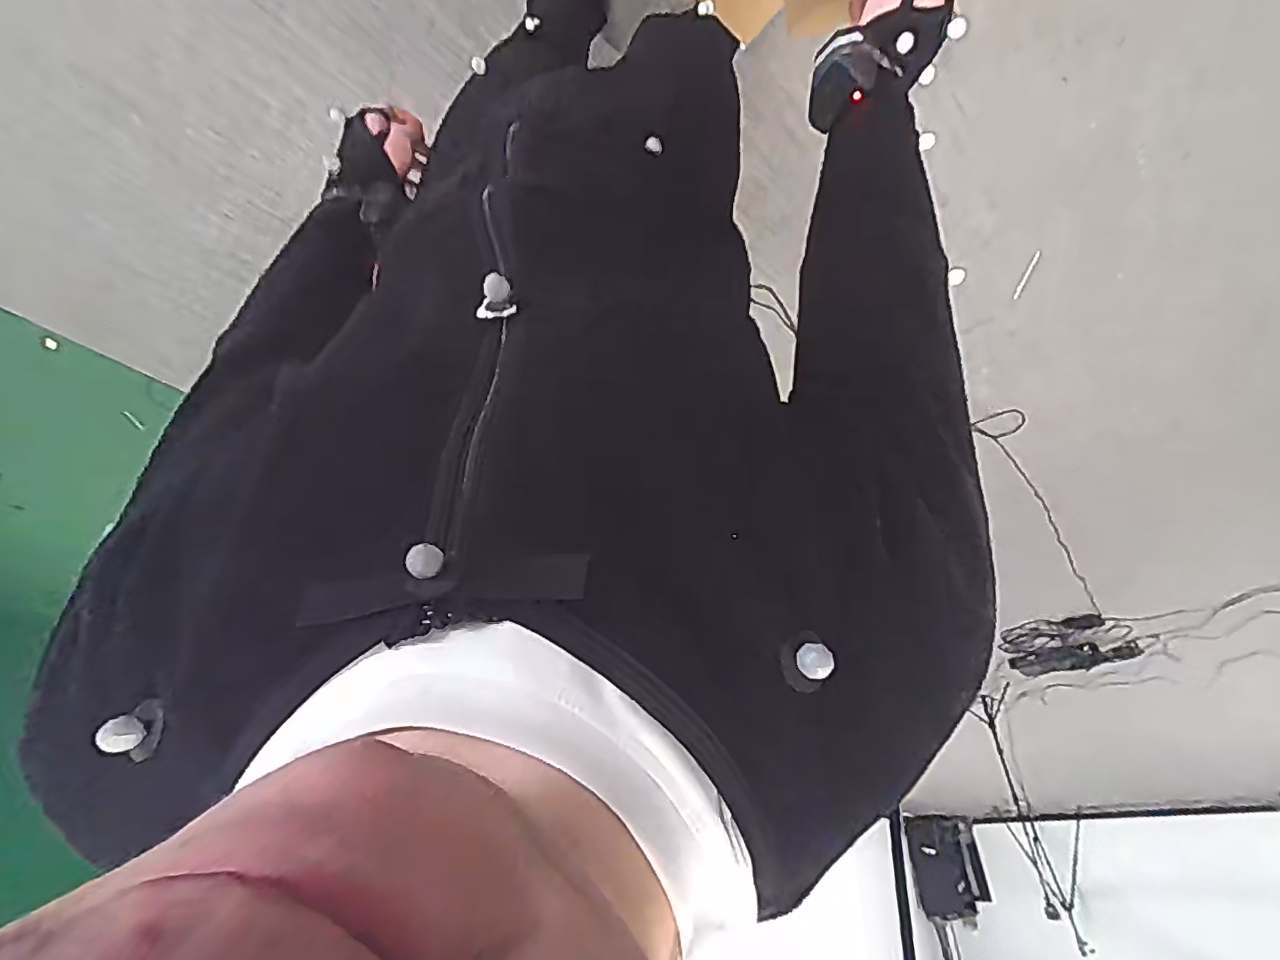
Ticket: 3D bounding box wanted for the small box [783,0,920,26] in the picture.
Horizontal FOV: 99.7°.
[{"bbox_3d":[0.230,-0.585,0.530,0.168,0.176,0.179,-6,113,10],"label":"small box"}]
